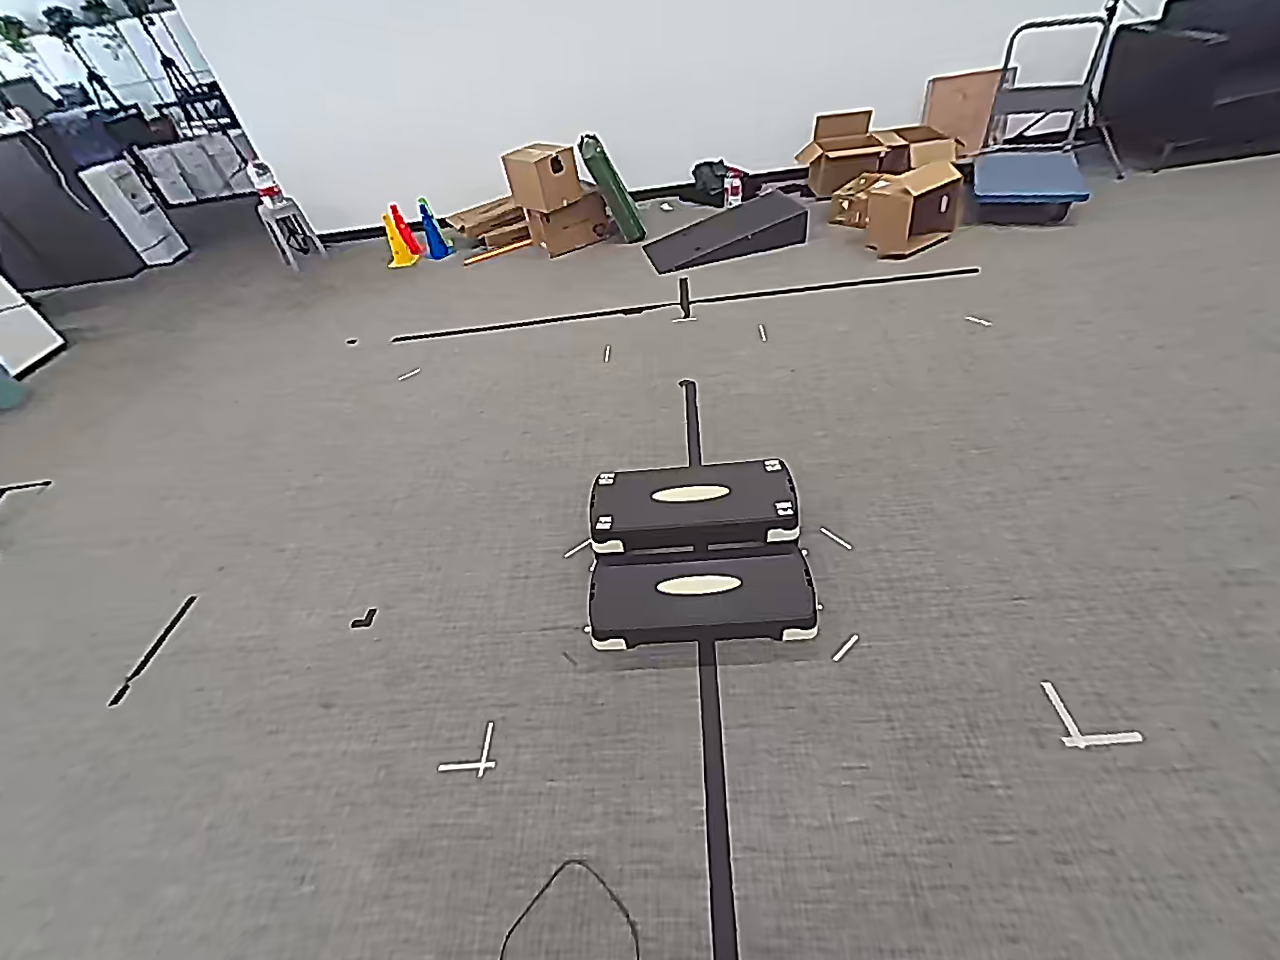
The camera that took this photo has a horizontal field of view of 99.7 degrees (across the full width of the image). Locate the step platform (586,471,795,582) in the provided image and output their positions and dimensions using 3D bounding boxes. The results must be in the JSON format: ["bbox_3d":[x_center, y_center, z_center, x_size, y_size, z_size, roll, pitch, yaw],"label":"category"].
[{"bbox_3d":[0.161,0.149,1.805,0.684,0.204,0.286,-5,44,4],"label":"step platform"}]
